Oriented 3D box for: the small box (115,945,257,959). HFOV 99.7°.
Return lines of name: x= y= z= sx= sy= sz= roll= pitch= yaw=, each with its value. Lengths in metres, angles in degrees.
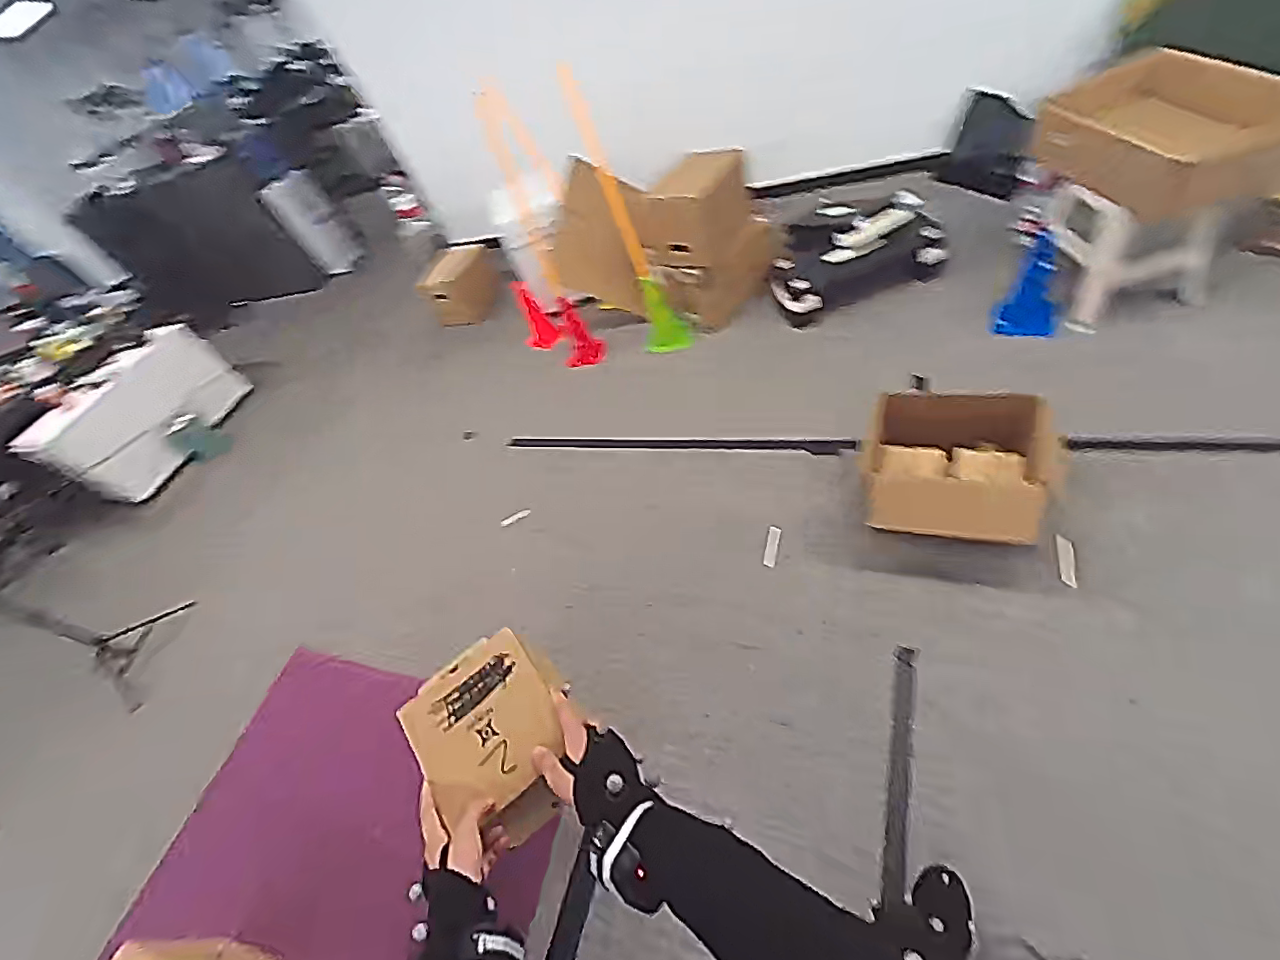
small box: x=-0.631 y=0.759 z=0.731 sx=0.179 sy=0.176 sz=0.168 roll=-2 pitch=52 yaw=21
